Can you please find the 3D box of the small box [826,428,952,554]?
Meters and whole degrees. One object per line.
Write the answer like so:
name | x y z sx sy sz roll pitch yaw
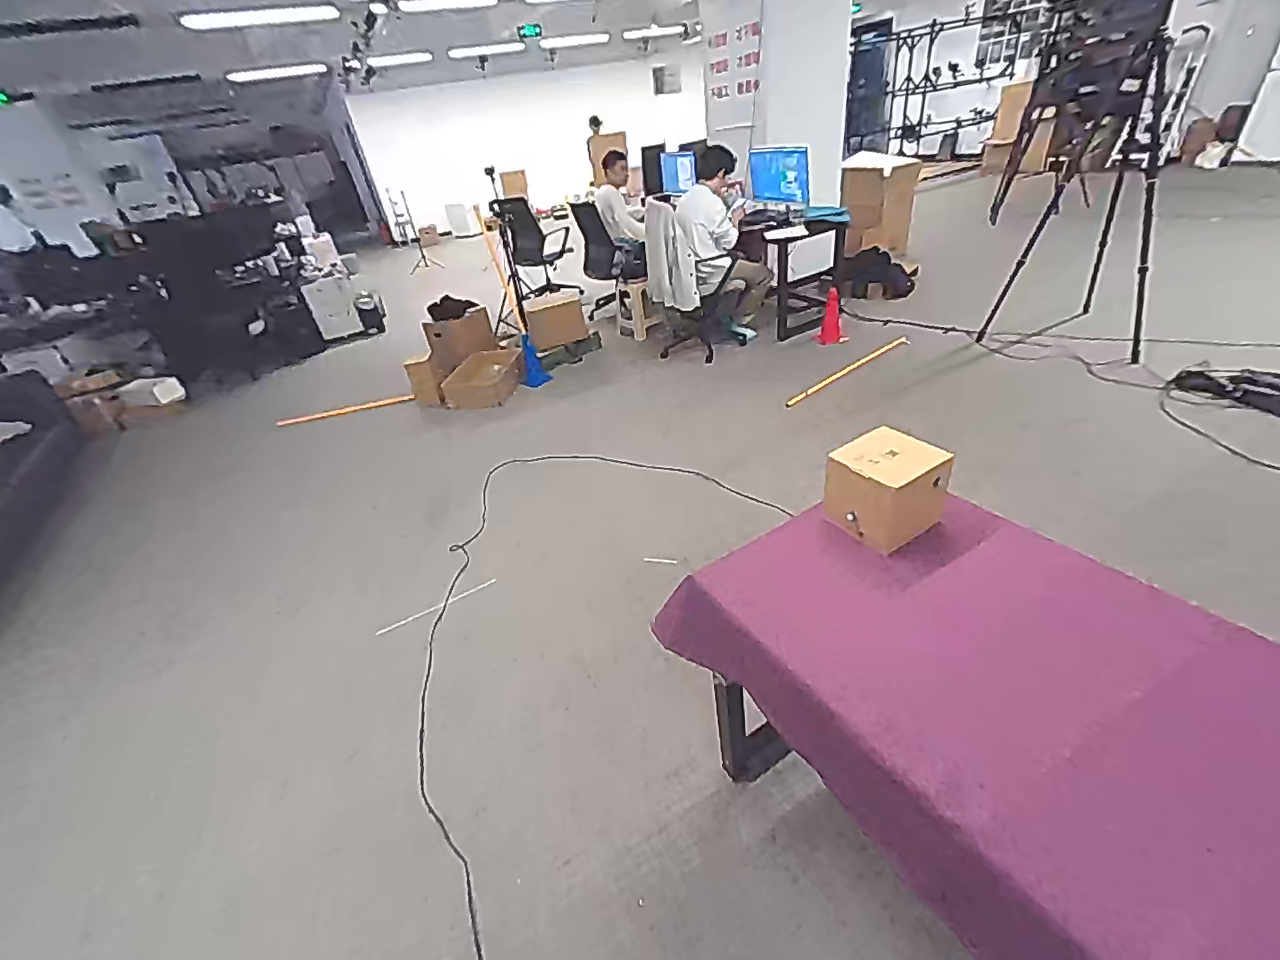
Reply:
small box | 0.504 0.020 1.122 0.179 0.176 0.168 -25 36 -21
